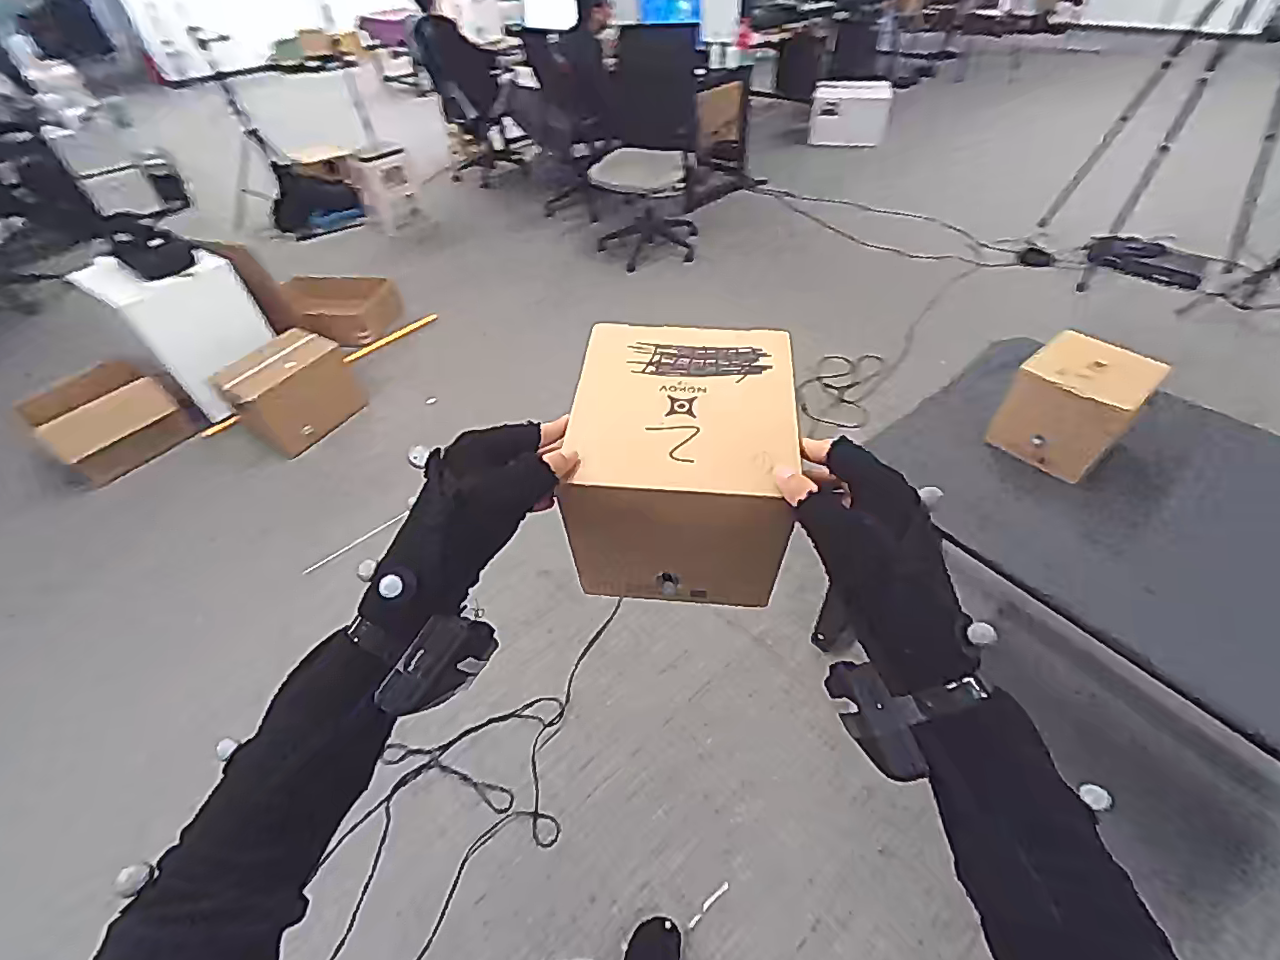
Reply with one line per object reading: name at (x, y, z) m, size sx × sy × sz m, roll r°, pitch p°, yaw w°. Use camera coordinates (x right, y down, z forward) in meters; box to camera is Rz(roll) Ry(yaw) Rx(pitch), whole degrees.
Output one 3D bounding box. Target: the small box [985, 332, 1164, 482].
small box at (0.760, -0.131, 0.964) m, size 0.179 × 0.176 × 0.168 m, roll -33°, pitch 52°, yaw -24°
